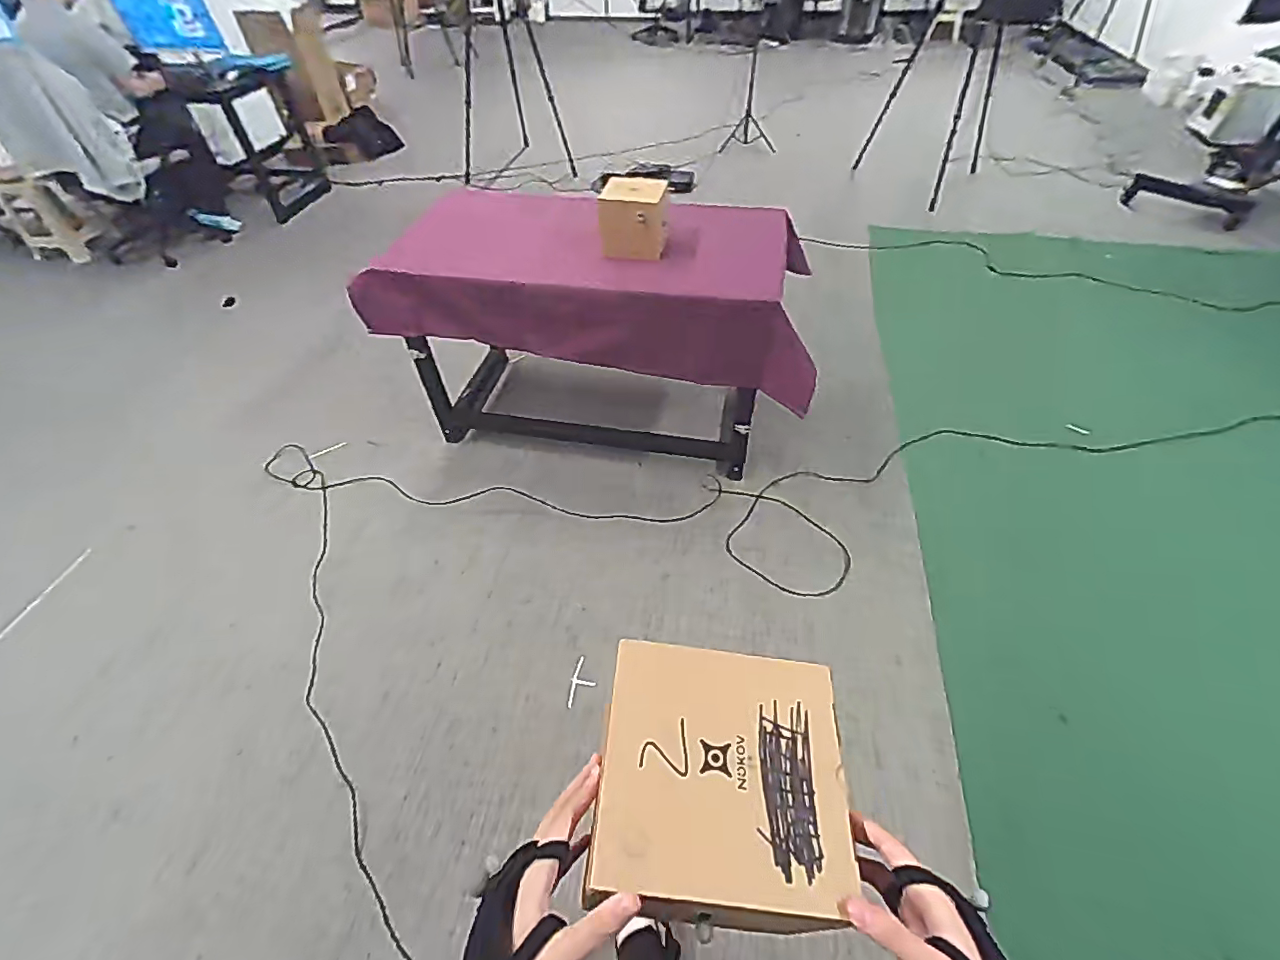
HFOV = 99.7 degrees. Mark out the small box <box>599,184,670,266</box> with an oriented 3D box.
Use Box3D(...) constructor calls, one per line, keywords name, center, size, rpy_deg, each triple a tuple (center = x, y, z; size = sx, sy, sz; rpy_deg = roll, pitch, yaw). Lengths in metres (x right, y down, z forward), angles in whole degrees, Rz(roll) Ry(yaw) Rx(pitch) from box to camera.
Box3D(name="small box", center=(-0.012, -0.755, 1.604), size=(0.179, 0.176, 0.168), rpy_deg=(9, 48, 10))
